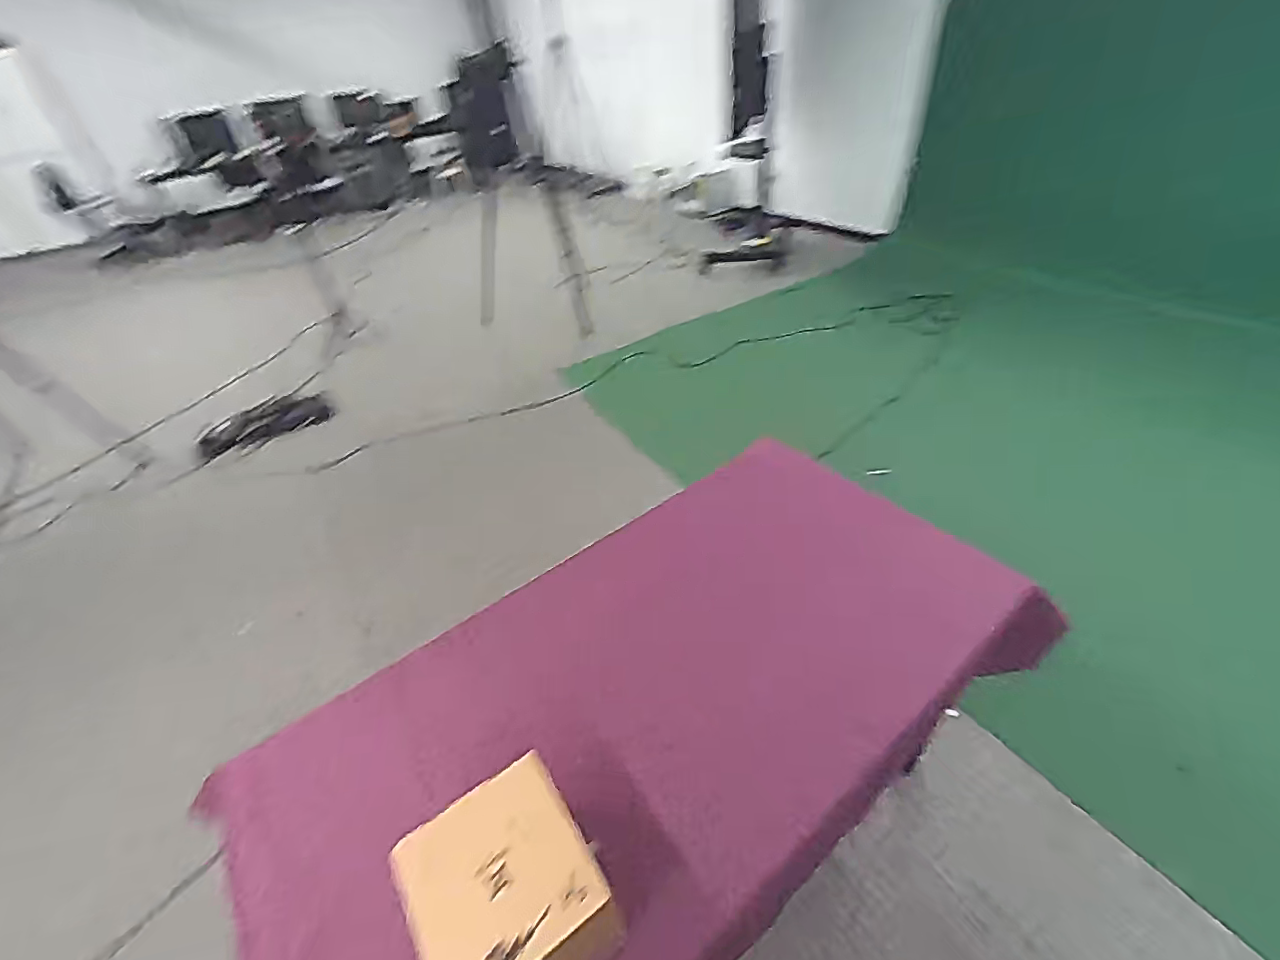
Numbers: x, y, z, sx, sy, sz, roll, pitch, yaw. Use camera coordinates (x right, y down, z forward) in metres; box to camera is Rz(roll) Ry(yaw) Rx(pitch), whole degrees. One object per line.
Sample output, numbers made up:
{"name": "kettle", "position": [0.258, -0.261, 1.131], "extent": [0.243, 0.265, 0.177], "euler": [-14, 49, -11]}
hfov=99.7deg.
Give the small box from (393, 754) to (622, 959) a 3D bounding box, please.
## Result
{"name": "small box", "position": [-0.138, 0.453, 0.591], "extent": [0.168, 0.176, 0.179], "euler": [-28, 44, -23]}
